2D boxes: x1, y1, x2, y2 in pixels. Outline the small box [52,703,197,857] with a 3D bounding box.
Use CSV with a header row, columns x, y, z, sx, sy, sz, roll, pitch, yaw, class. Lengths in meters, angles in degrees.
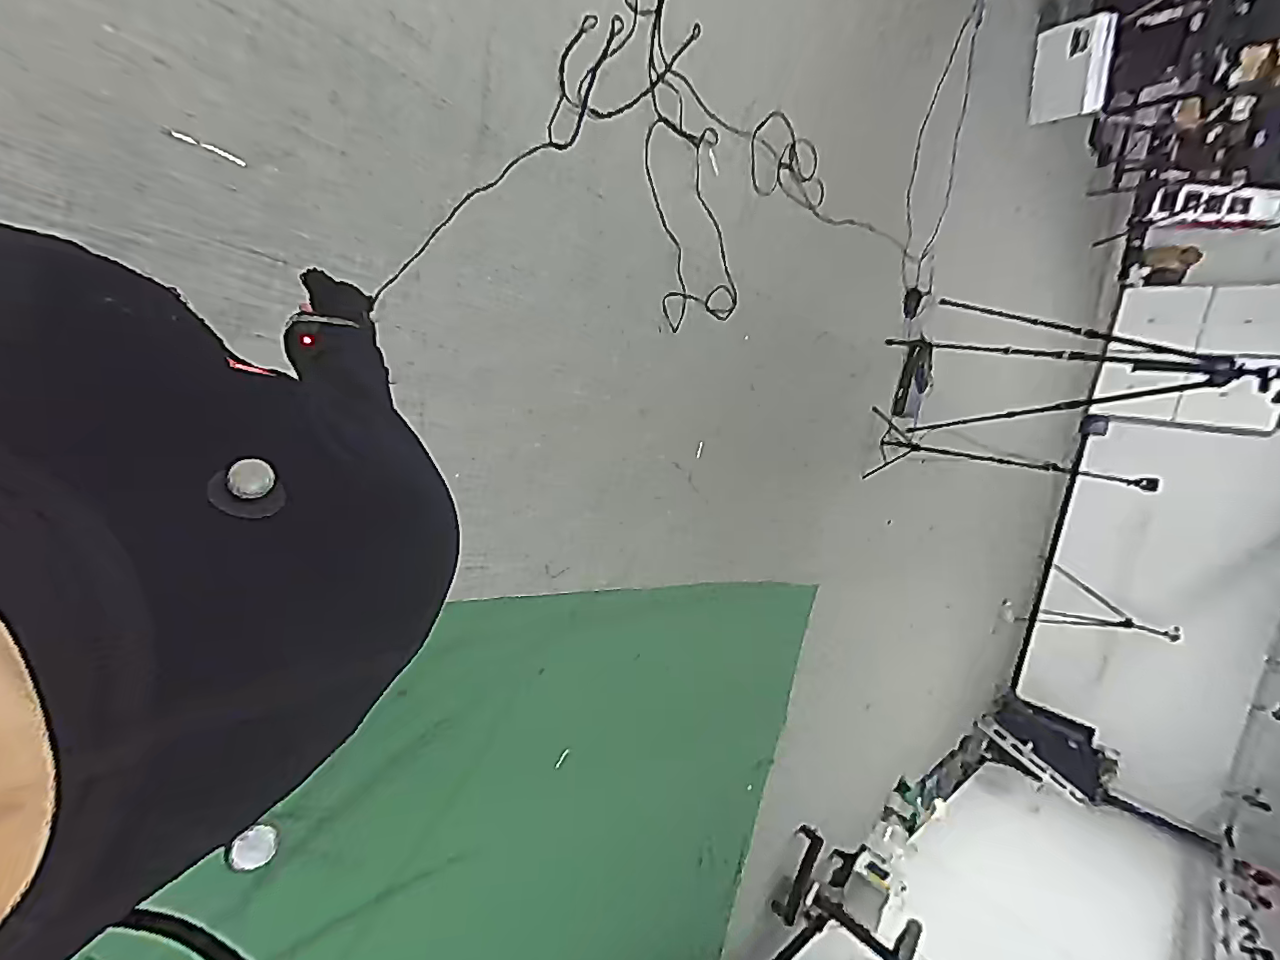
x,y,z,sx,sy,sz,roll,pitch,yaw,class
-0.950,0.534,1.000,0.168,0.176,0.179,11,96,-46,small box
